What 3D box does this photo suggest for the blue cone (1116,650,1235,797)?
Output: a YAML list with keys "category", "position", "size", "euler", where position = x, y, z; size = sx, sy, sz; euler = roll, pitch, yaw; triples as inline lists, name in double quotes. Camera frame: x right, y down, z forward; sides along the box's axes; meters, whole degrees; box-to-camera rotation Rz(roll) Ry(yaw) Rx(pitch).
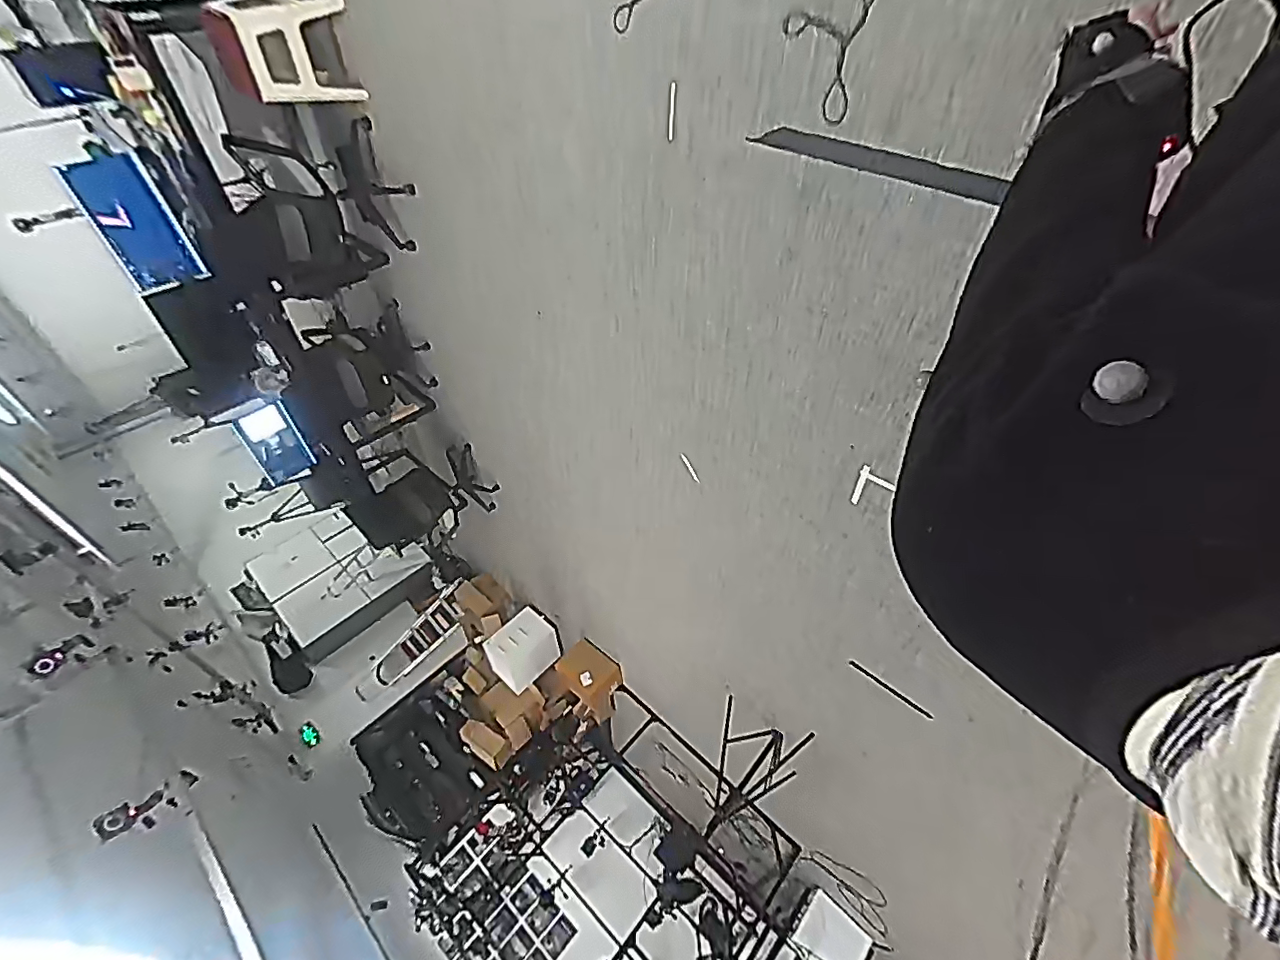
- category: "blue cone"
  position: [1.309, 0.636, 1.356]
  size: [0.192, 0.380, 0.193]
  euler: [37, 146, 25]
